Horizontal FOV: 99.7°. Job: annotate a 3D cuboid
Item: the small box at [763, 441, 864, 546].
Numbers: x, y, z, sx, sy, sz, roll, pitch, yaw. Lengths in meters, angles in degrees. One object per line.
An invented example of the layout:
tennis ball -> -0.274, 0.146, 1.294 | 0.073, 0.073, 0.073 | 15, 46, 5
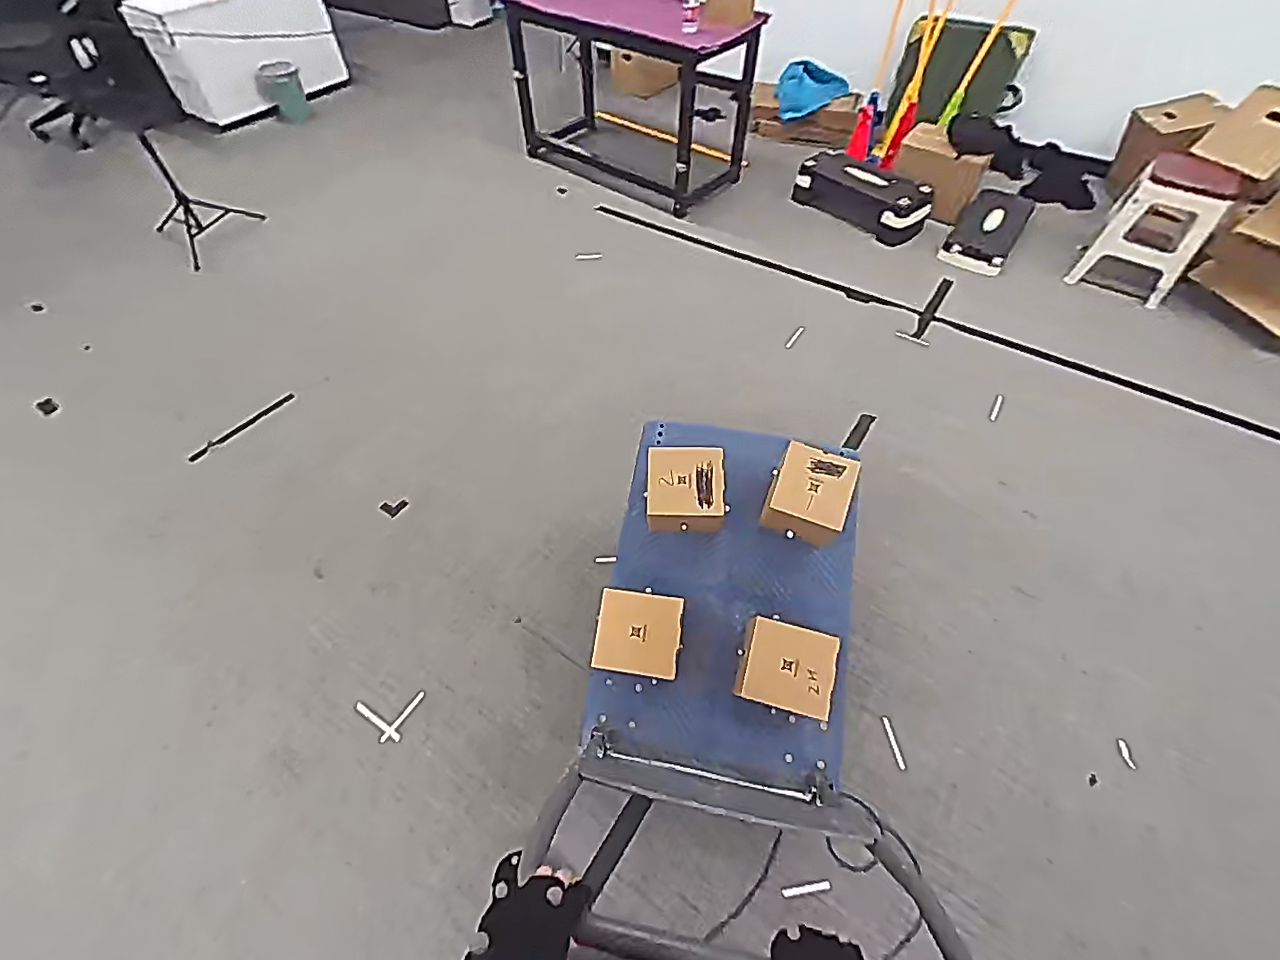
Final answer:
small box -> 0.403, 0.037, 1.286 | 0.168, 0.176, 0.179 | 20, 74, 10

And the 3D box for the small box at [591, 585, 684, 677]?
small box -> 0.000, 0.340, 1.206 | 0.179, 0.176, 0.168 | 8, 72, 4

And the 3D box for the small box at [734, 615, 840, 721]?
small box -> 0.309, 0.403, 1.166 | 0.179, 0.176, 0.168 | 15, 73, 8
